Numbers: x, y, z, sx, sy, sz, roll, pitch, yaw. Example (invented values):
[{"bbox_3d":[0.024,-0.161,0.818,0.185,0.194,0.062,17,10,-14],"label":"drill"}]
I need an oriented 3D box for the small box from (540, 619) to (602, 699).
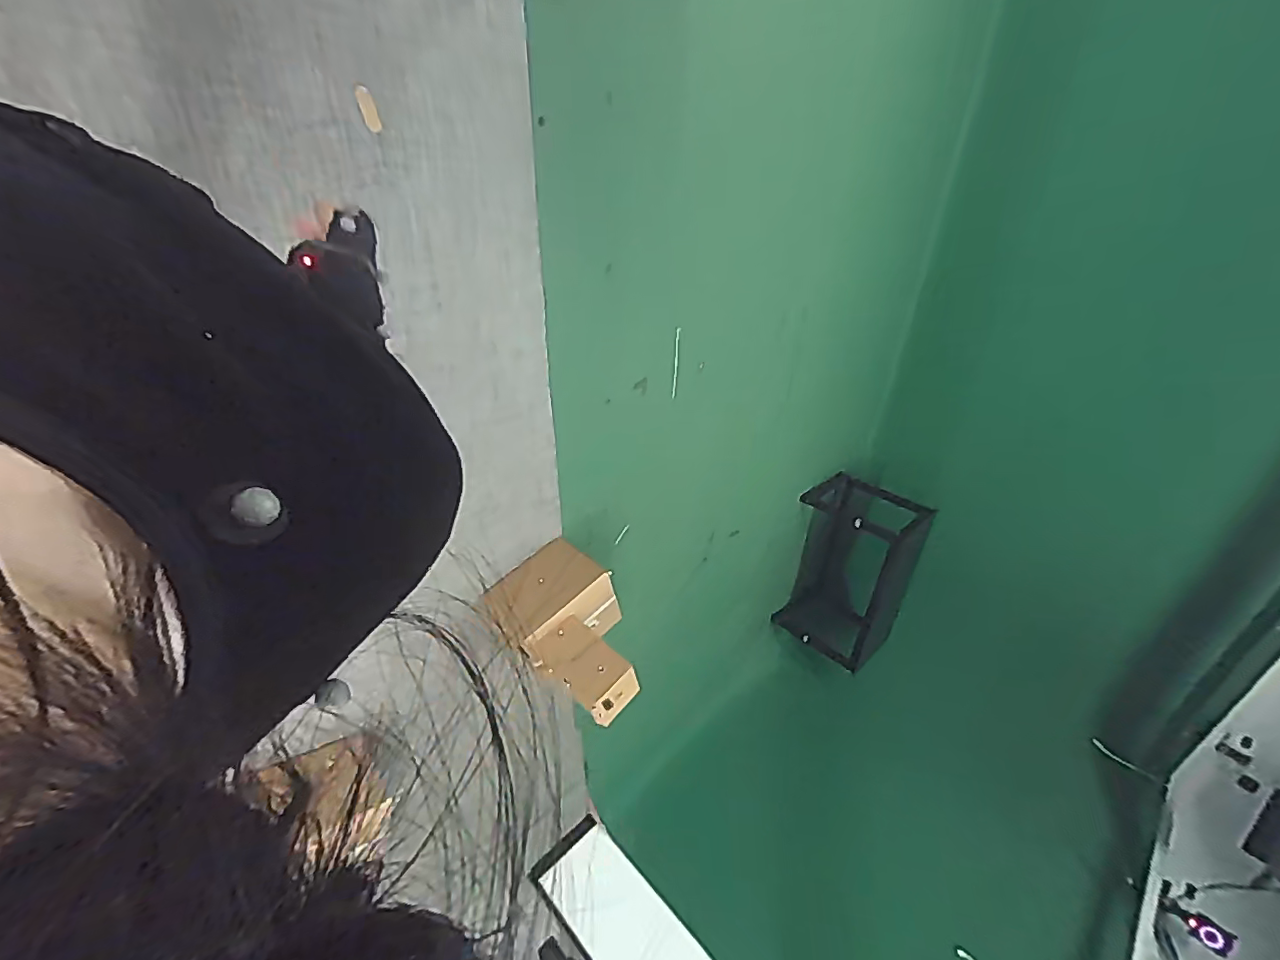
[{"bbox_3d":[-0.245,0.642,1.957,0.179,0.176,0.168,-34,135,-30],"label":"small box"}]

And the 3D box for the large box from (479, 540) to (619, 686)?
[{"bbox_3d":[-0.354,0.517,2.158,0.408,0.320,0.320,-39,138,-28],"label":"large box"}]

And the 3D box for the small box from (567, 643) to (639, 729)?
[{"bbox_3d":[-0.131,0.702,1.856,0.179,0.176,0.168,-39,137,-29],"label":"small box"}]
